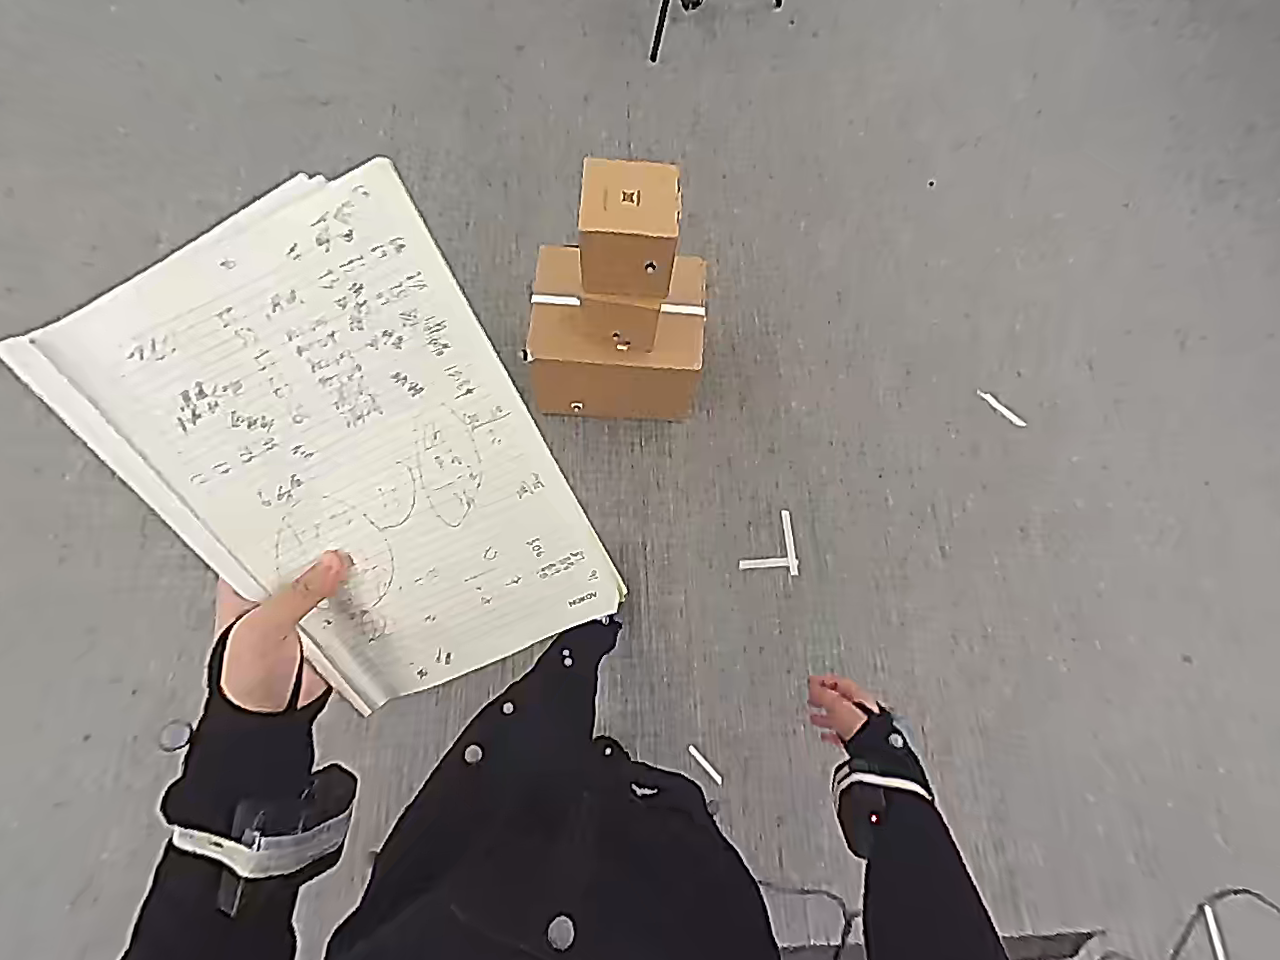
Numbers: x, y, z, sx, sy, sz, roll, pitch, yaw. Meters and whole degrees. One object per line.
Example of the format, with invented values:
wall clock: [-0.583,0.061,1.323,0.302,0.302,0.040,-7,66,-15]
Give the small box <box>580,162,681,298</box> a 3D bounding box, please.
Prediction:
small box: [-0.019,-0.466,1.027,0.179,0.176,0.168,2,71,-2]
